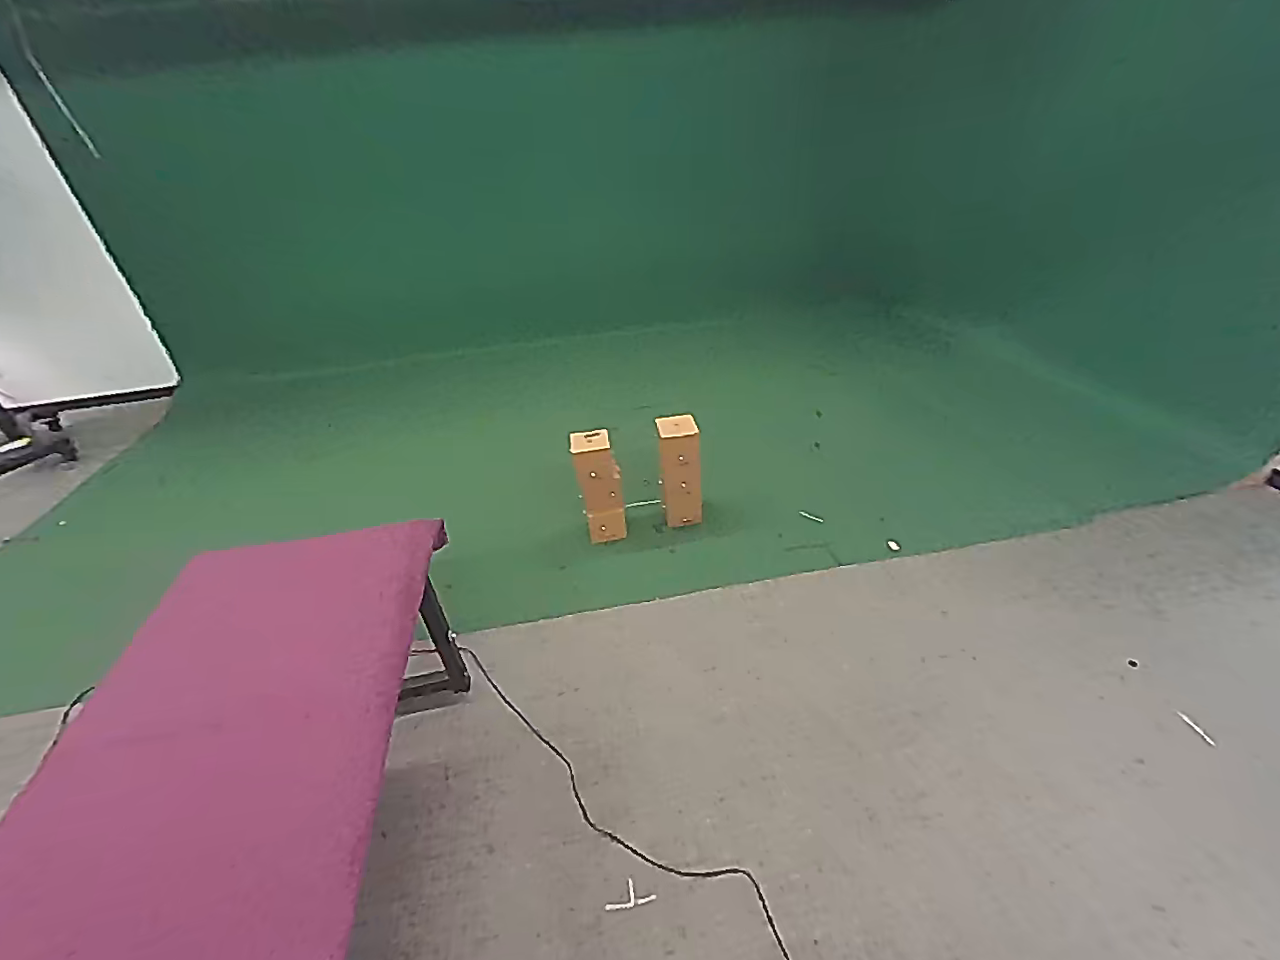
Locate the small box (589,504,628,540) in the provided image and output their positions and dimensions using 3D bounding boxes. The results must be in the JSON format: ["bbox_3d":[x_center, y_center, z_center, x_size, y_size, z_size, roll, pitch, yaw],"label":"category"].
[{"bbox_3d":[-0.154,0.167,2.550,0.168,0.176,0.179,-11,34,-7],"label":"small box"}]

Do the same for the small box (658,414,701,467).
[{"bbox_3d":[0.175,-0.177,2.417,0.168,0.176,0.179,-8,36,-3],"label":"small box"}]

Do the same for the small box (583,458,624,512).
[{"bbox_3d":[-0.170,0.026,2.471,0.179,0.176,0.168,-11,34,-7],"label":"small box"}]

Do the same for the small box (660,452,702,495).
[{"bbox_3d":[0.191,-0.042,2.511,0.168,0.176,0.179,-8,36,-5],"label":"small box"}]

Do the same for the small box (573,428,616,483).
[{"bbox_3d":[-0.201,-0.107,2.378,0.168,0.176,0.179,-9,34,-4],"label":"small box"}]
